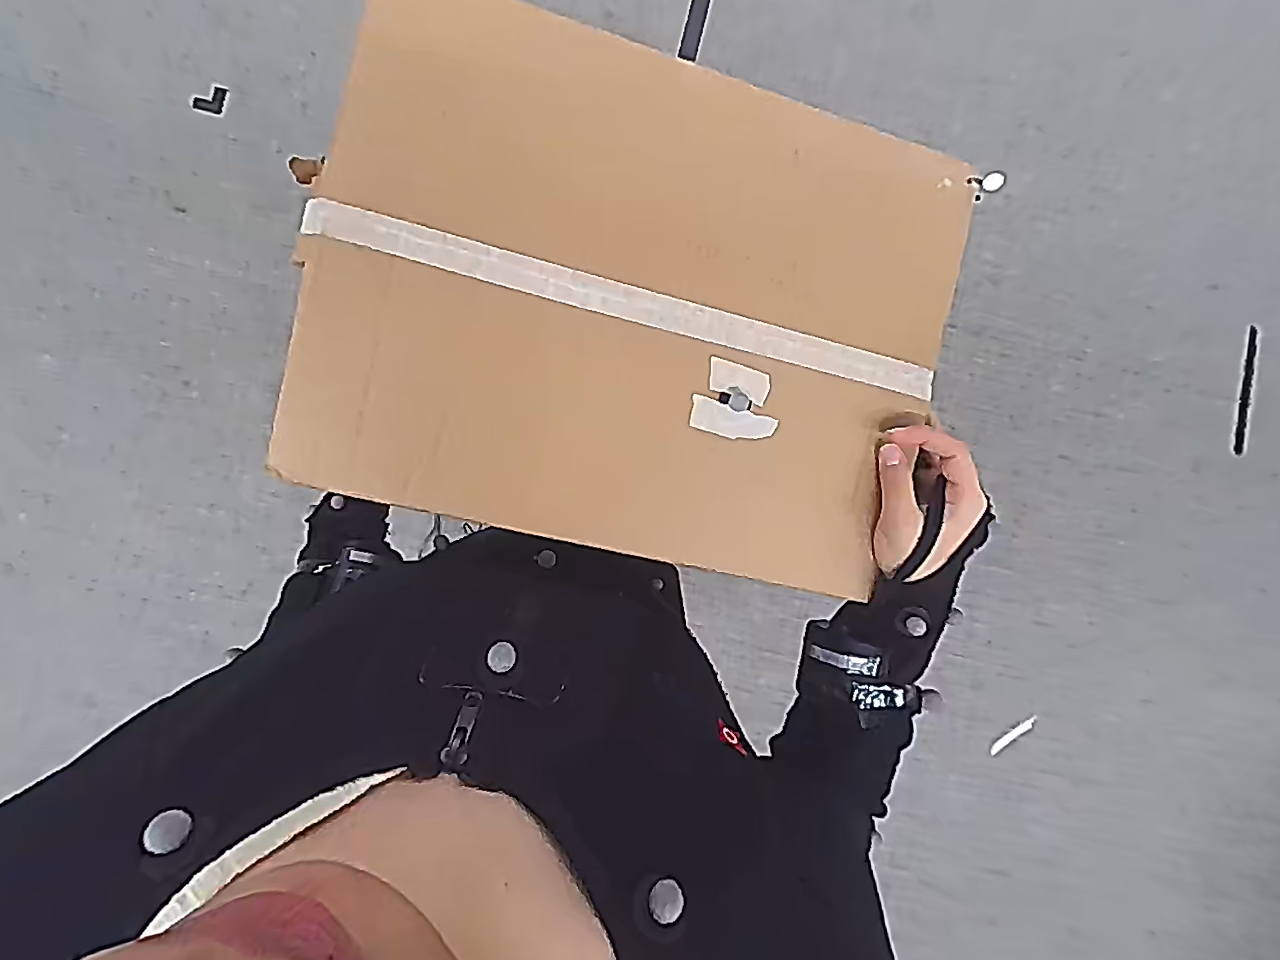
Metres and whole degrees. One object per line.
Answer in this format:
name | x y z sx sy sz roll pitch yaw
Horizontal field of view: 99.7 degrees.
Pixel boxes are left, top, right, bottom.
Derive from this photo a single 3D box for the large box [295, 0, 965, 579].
large box | -0.014 -0.123 0.501 0.408 0.320 0.320 13 92 -10
